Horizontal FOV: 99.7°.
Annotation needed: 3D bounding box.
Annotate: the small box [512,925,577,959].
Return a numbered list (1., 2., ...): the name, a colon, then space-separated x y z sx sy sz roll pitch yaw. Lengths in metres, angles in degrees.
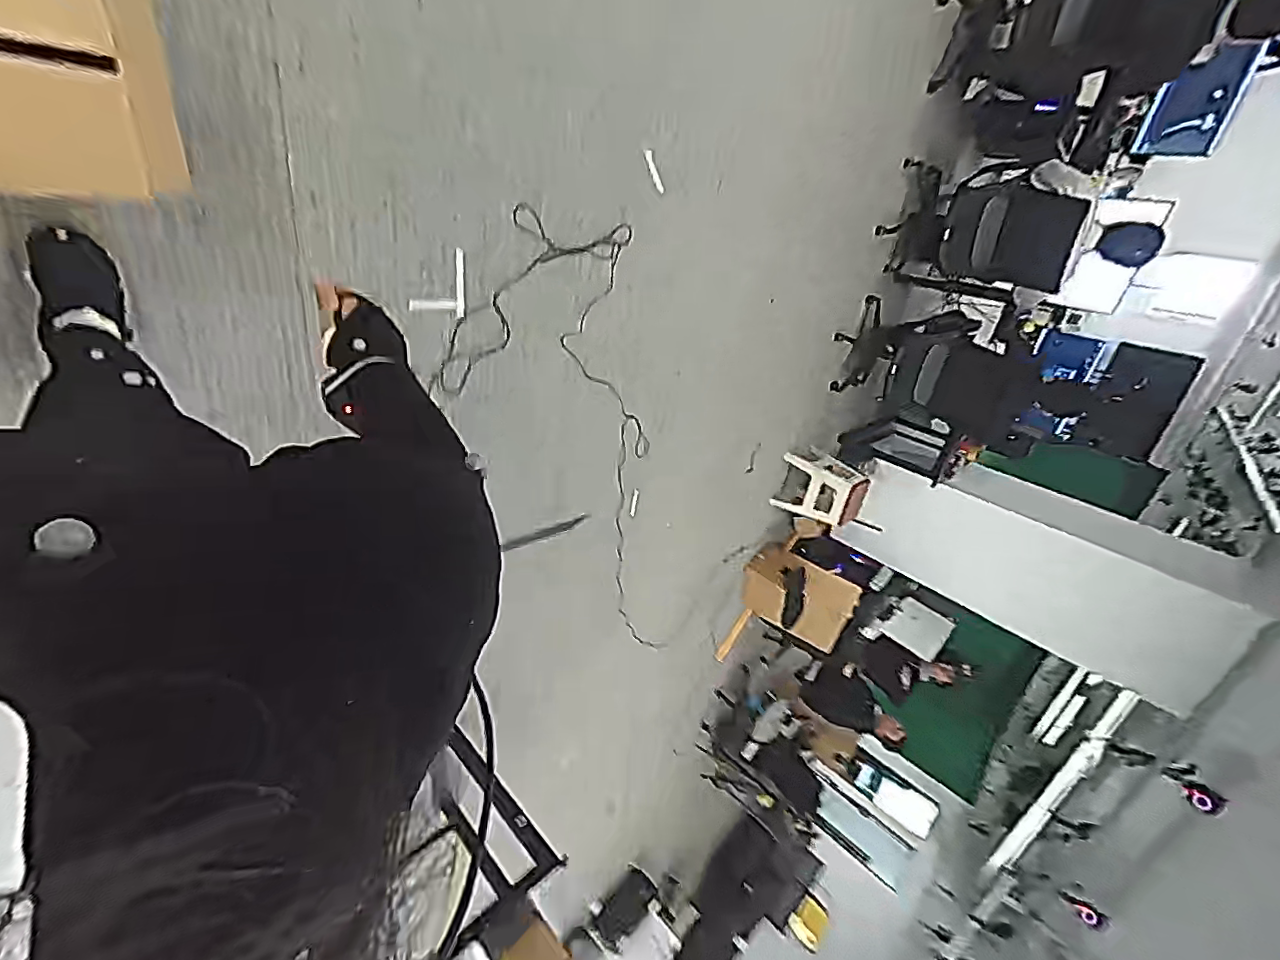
1. small box: -0.310 1.588 1.732 0.168 0.176 0.179 -22 130 -40
